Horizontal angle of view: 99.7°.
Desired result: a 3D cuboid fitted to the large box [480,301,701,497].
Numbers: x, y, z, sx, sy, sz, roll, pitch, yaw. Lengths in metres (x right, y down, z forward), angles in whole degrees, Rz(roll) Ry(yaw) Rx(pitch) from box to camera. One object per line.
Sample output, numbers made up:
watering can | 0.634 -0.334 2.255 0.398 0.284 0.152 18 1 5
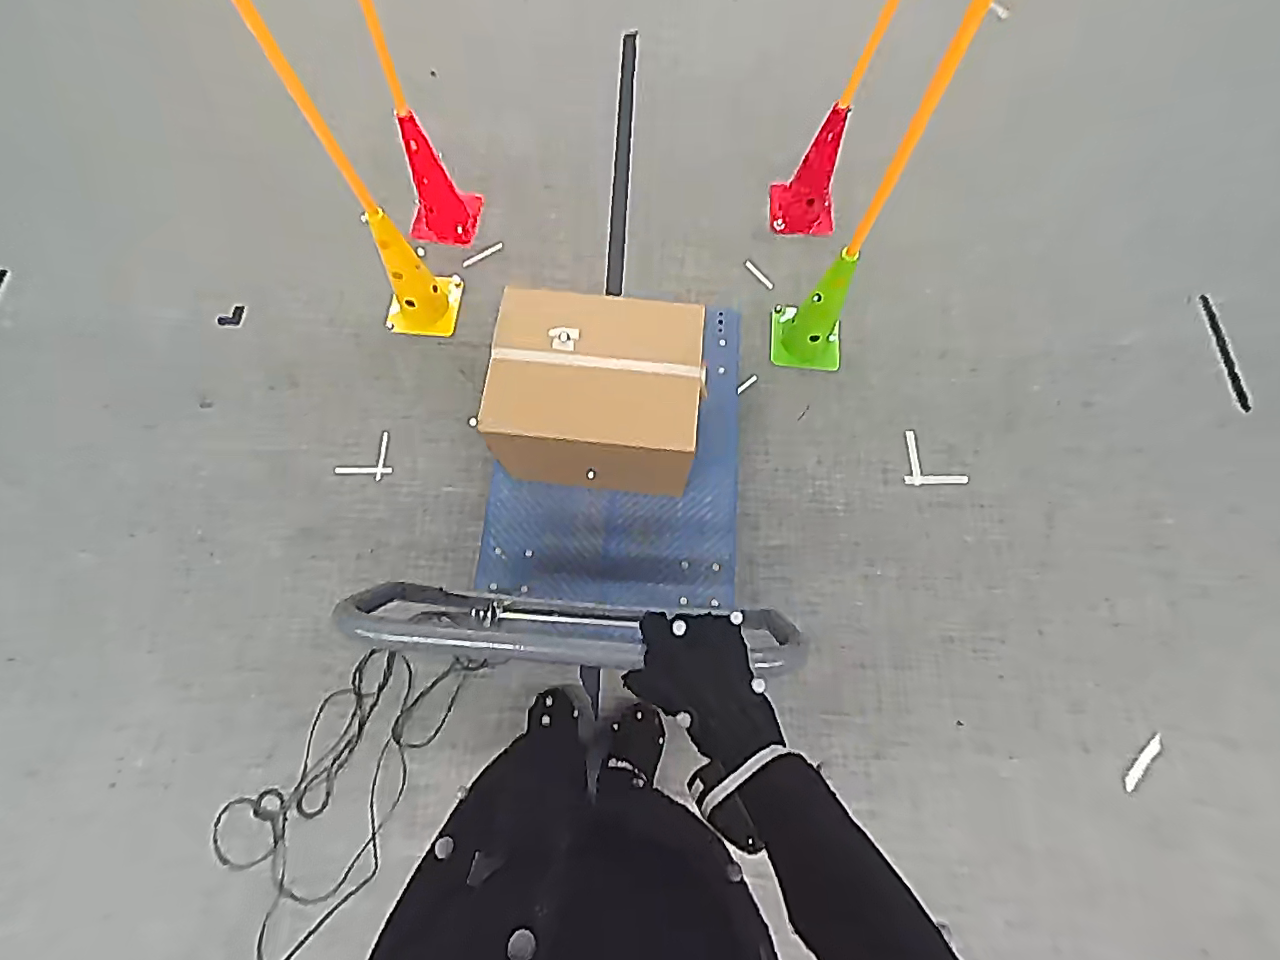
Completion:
large box | -0.086 -0.158 1.184 0.408 0.320 0.320 6 72 2

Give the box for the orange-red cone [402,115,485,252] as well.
orange-red cone | -0.606 -0.878 1.569 0.198 0.360 0.199 9 71 1

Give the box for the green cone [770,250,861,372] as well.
green cone | 0.493 -0.469 1.446 0.202 0.368 0.200 6 72 0

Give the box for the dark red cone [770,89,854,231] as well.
dark red cone | 0.526 -0.935 1.581 0.201 0.394 0.202 2 72 -2
